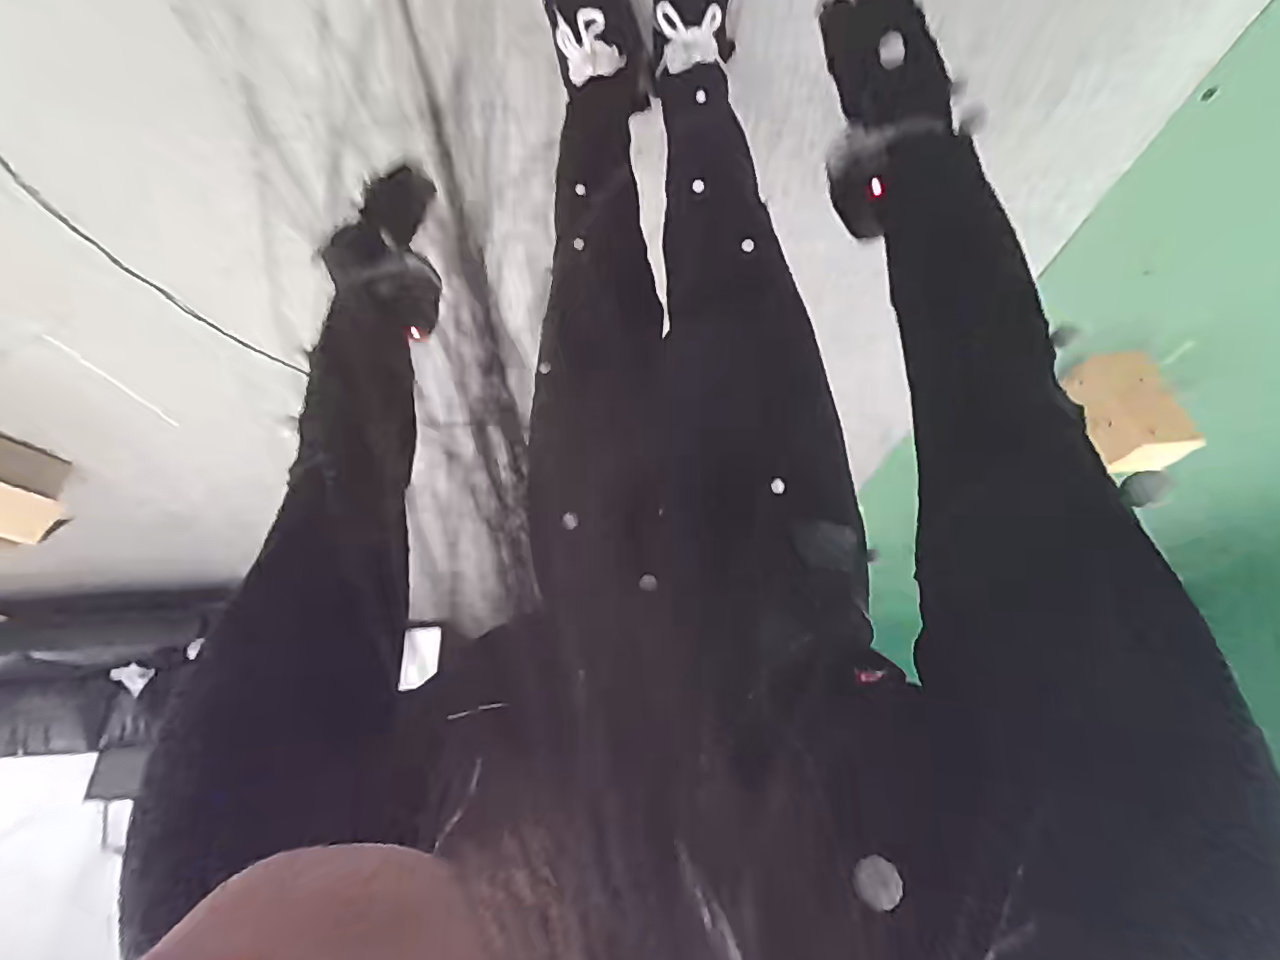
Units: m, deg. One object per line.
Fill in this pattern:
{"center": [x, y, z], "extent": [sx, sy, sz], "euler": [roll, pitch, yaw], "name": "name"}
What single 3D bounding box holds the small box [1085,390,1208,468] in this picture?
{"center": [1.479, -0.152, 1.592], "extent": [0.179, 0.176, 0.168], "euler": [-4, 153, 2], "name": "small box"}
